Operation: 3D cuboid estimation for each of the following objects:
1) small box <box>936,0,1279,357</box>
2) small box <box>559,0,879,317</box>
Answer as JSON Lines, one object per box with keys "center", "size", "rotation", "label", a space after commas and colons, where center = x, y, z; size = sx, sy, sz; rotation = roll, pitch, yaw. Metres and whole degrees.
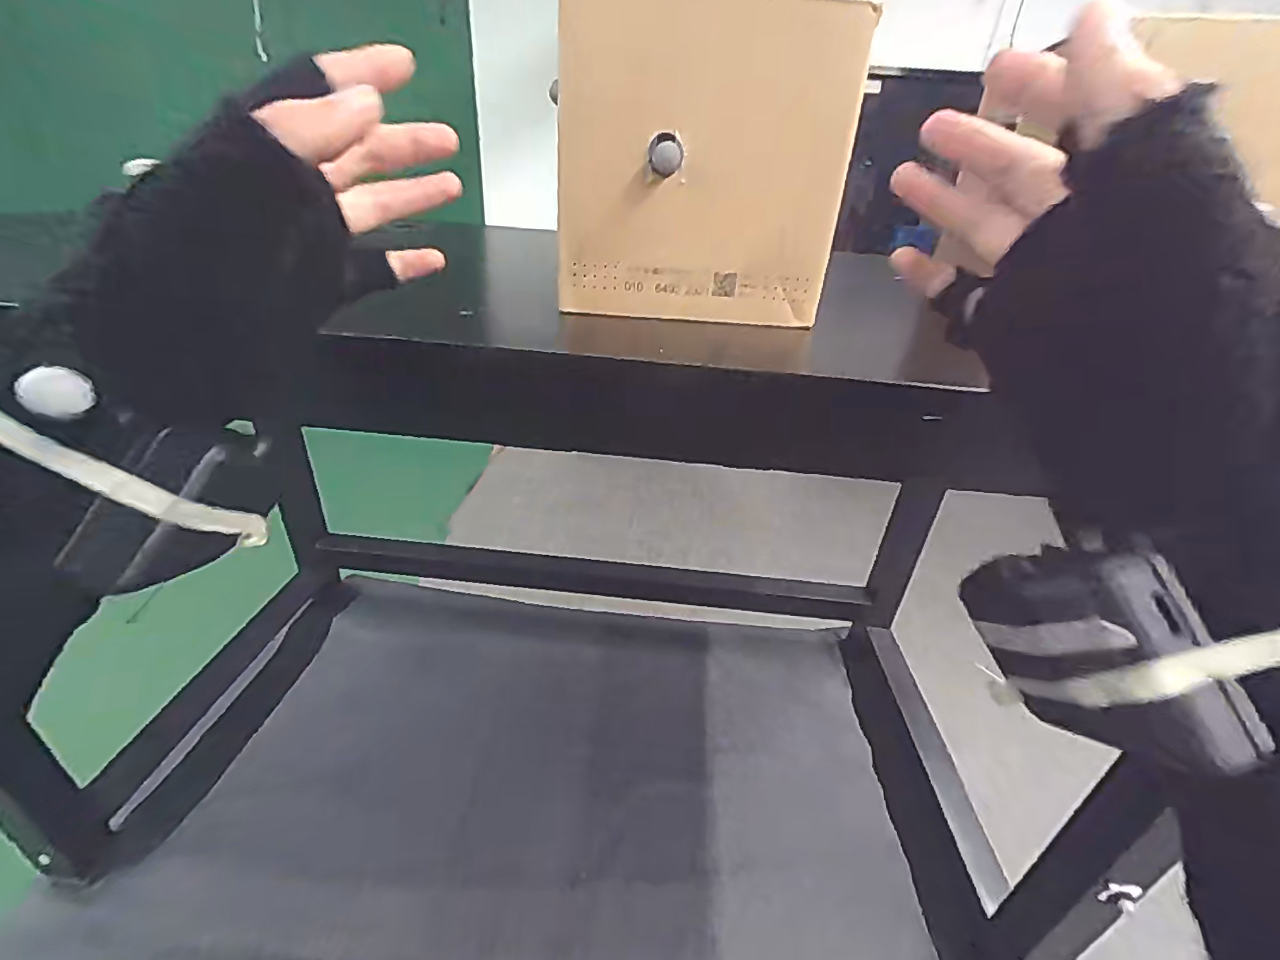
{"center": [0.331, -0.195, 0.370], "size": [0.168, 0.176, 0.179], "rotation": [7, 30, 7], "label": "small box"}
{"center": [0.038, -0.218, 0.379], "size": [0.168, 0.176, 0.179], "rotation": [3, 29, -2], "label": "small box"}
